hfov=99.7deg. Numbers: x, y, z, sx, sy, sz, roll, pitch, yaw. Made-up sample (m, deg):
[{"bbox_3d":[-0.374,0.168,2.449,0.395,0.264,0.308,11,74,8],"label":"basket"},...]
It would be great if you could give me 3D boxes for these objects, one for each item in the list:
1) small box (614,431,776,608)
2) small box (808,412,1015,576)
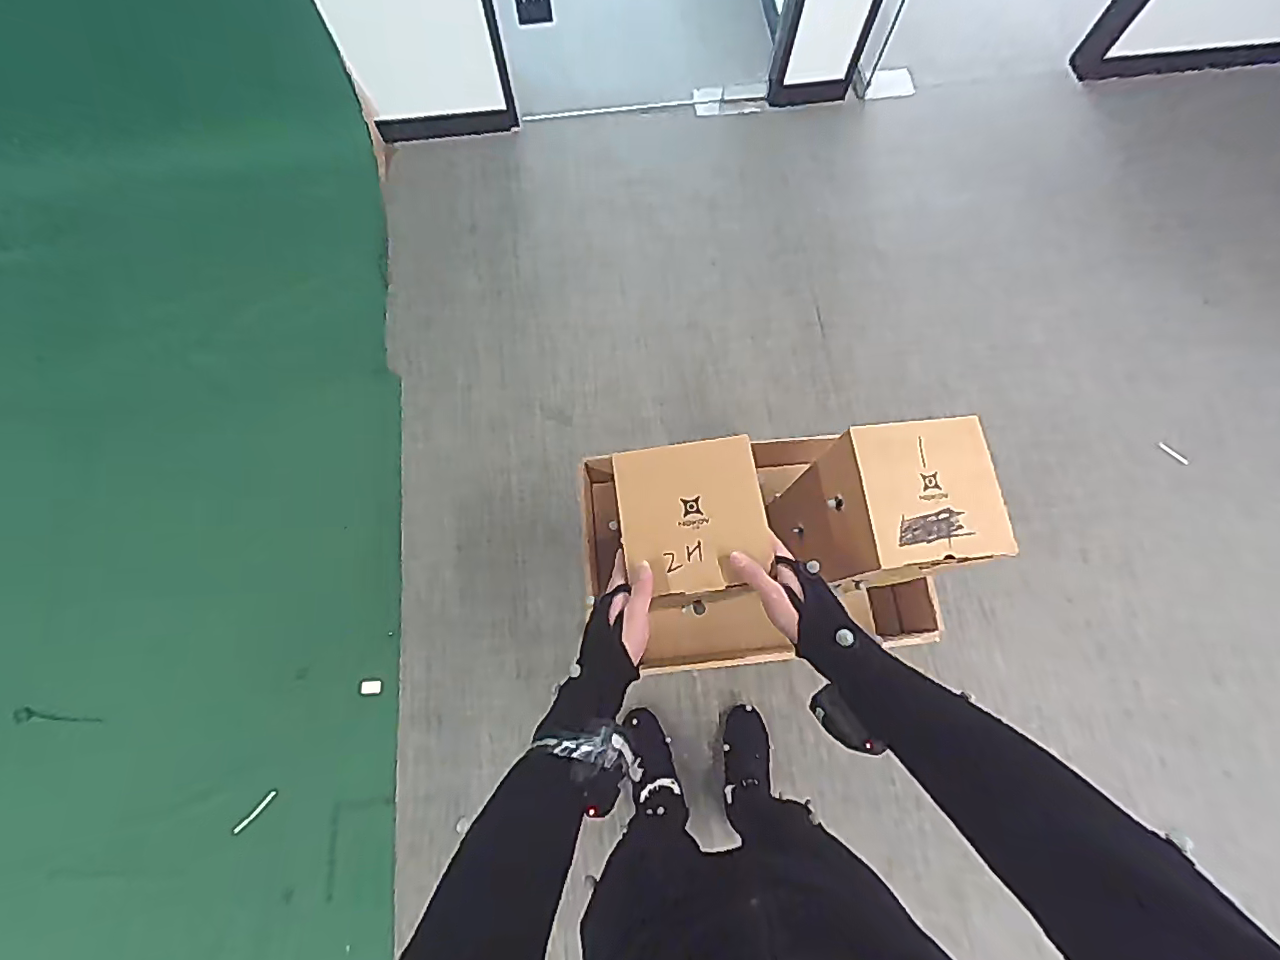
[{"bbox_3d":[0.061,0.058,0.687,0.168,0.176,0.179,-8,72,1],"label":"small box"},{"bbox_3d":[0.339,0.029,0.713,0.168,0.176,0.179,-6,73,-3],"label":"small box"}]
